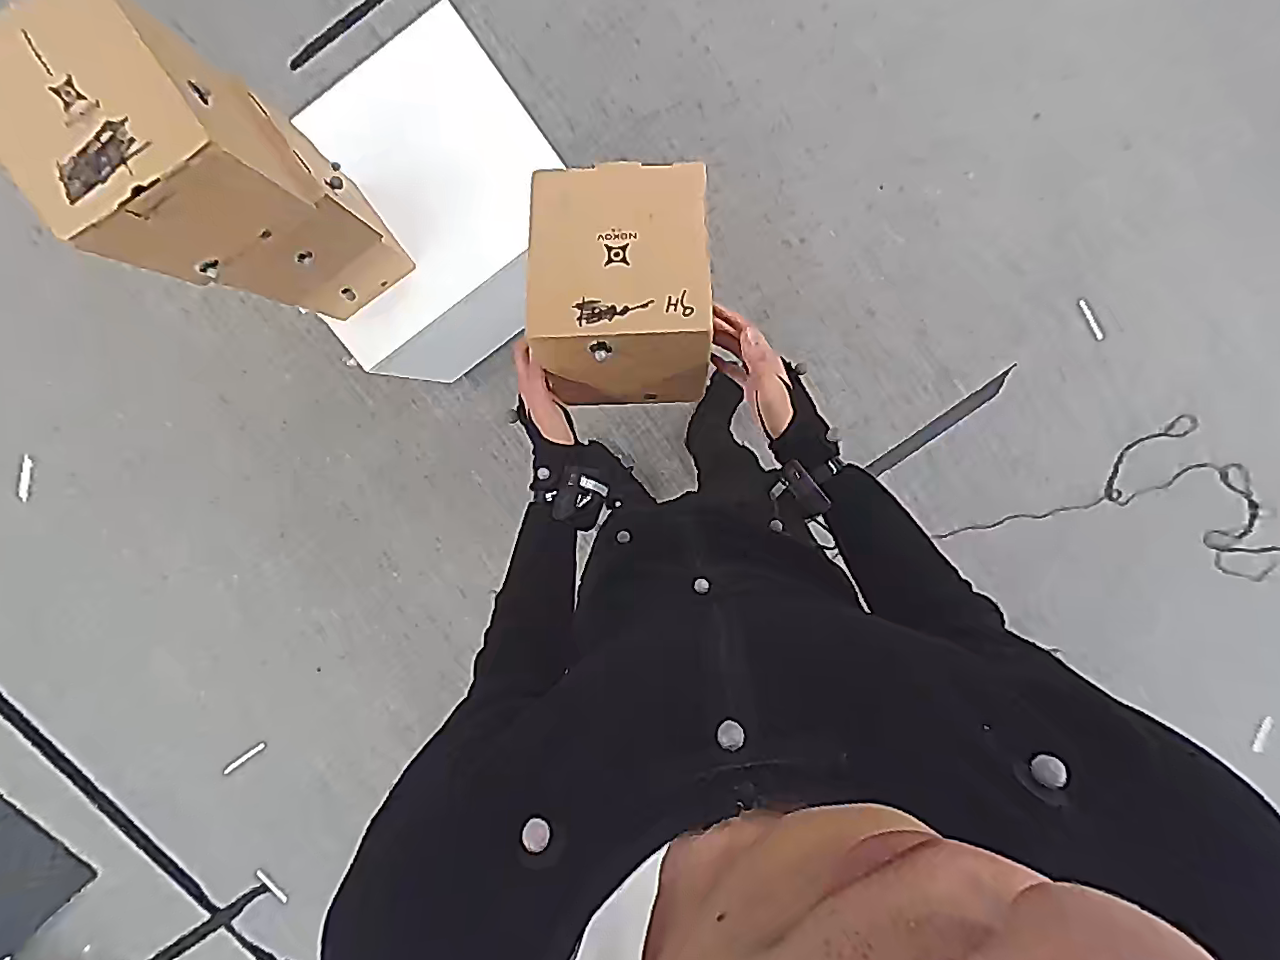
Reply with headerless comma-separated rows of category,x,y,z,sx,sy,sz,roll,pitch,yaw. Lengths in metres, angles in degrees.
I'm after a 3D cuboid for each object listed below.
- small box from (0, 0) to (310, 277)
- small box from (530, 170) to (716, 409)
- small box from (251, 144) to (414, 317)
small box,-0.485,-0.327,0.545,0.168,0.176,0.179,-33,97,2
small box,-0.013,-0.186,0.565,0.168,0.176,0.179,-2,77,2
small box,-0.501,-0.381,0.870,0.168,0.176,0.179,-36,98,1
